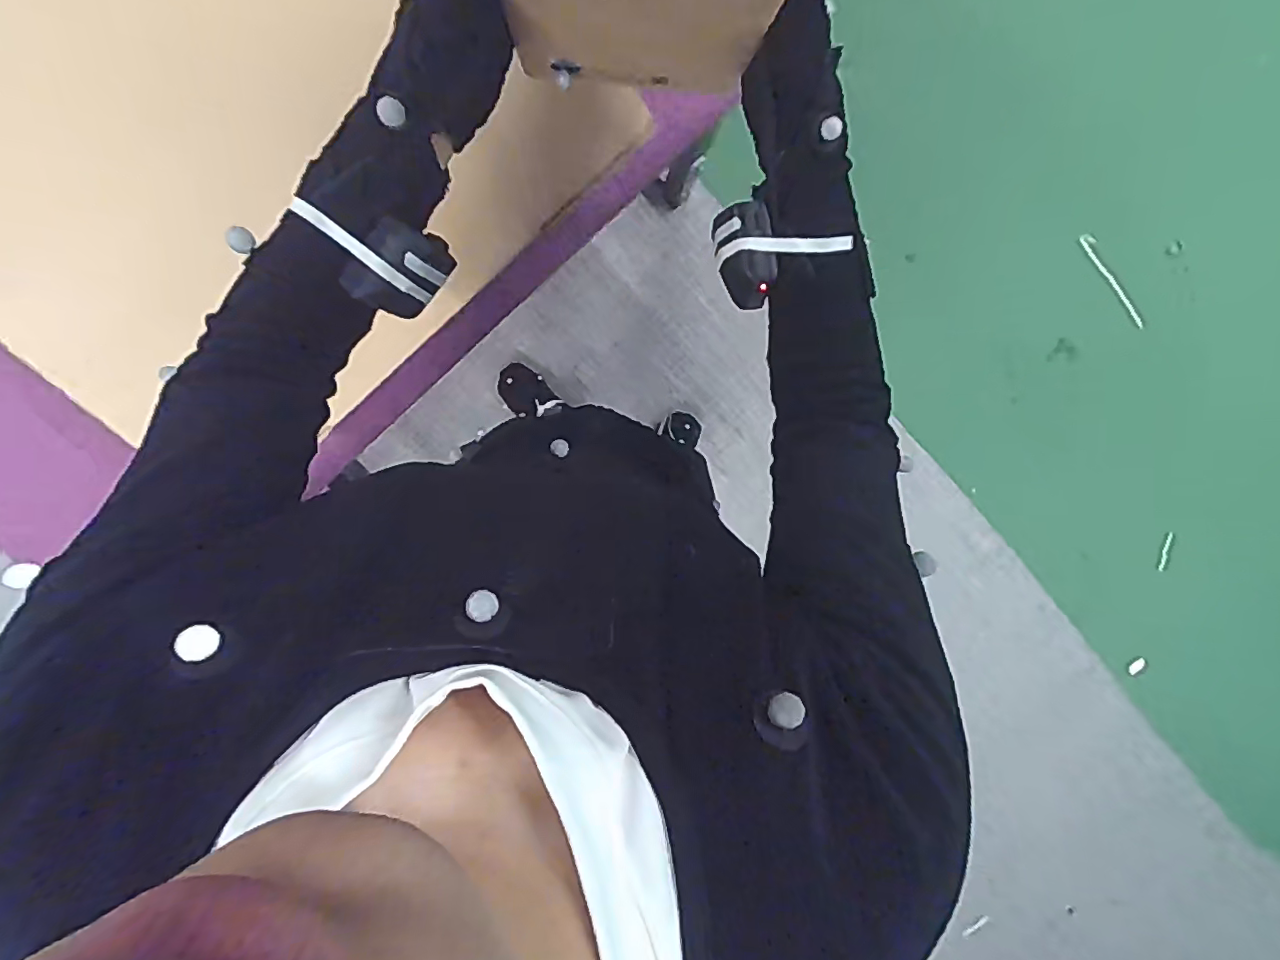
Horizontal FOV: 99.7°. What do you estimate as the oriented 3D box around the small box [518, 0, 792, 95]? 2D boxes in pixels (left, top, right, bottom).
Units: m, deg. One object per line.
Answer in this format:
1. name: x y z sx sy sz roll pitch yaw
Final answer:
1. small box: 0.013 -0.365 0.327 0.168 0.176 0.179 3 107 -4
